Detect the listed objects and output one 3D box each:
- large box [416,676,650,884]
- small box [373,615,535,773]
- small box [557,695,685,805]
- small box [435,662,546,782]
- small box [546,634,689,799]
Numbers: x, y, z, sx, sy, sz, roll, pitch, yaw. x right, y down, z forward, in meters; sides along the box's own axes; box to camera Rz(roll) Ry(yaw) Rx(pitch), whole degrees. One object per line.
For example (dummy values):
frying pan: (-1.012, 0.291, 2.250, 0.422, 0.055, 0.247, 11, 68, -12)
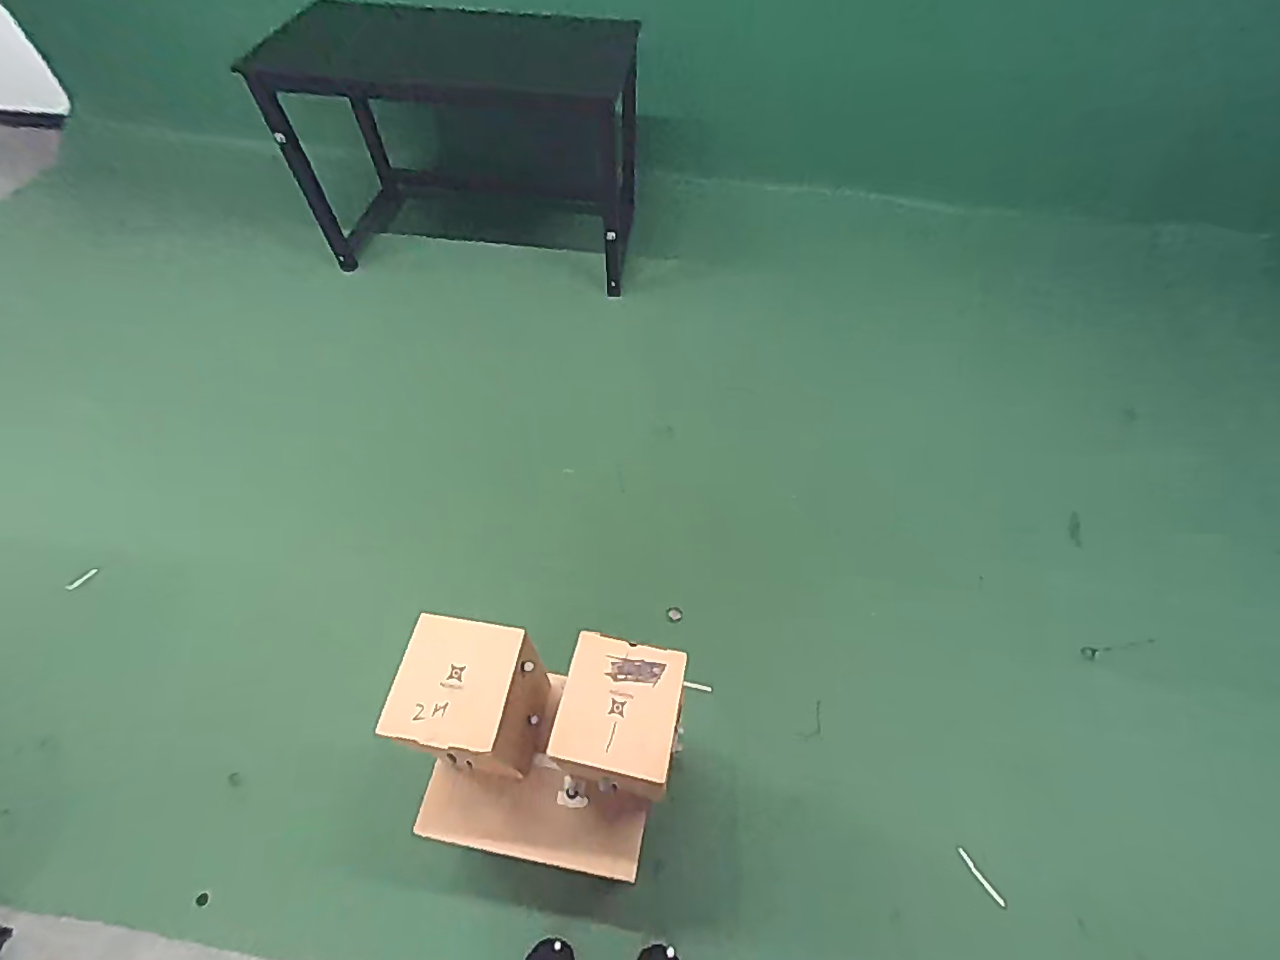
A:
large box: (-0.178, 0.615, 1.129, 0.408, 0.320, 0.320, 9, 57, 4)
small box: (-0.267, 0.331, 0.829, 0.168, 0.176, 0.179, 8, 56, 5)
small box: (-0.026, 0.453, 0.946, 0.179, 0.176, 0.168, 11, 56, 9)
small box: (-0.272, 0.422, 0.967, 0.168, 0.176, 0.179, 9, 56, 5)
small box: (-0.027, 0.357, 0.810, 0.168, 0.176, 0.179, 10, 57, 8)
